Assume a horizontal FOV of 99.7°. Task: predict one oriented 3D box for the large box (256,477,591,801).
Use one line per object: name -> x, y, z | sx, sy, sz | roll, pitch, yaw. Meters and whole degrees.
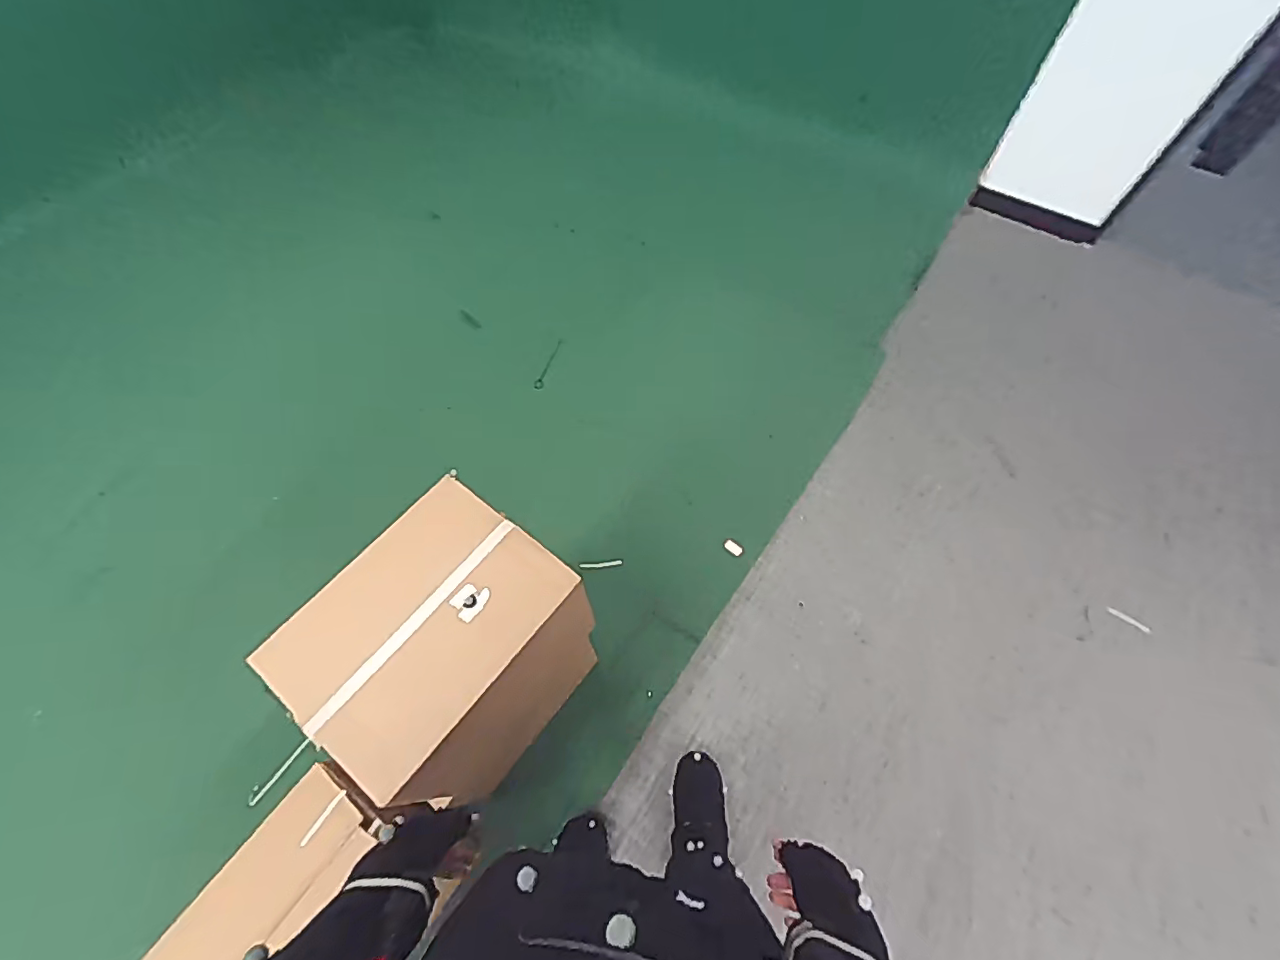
large box -> -0.335, 0.284, 0.959 | 0.320, 0.320, 0.408 | 35, 66, 16
